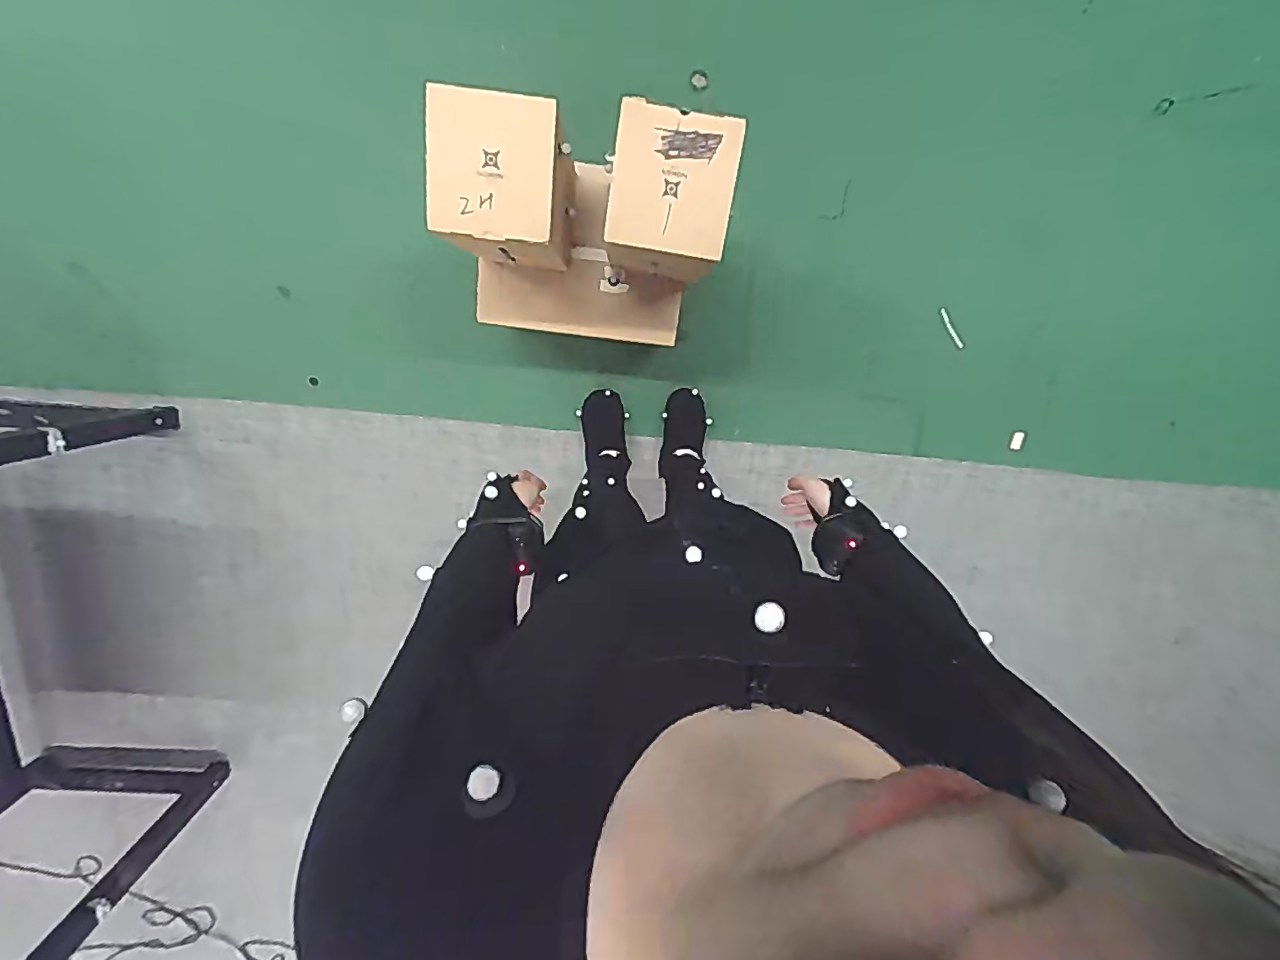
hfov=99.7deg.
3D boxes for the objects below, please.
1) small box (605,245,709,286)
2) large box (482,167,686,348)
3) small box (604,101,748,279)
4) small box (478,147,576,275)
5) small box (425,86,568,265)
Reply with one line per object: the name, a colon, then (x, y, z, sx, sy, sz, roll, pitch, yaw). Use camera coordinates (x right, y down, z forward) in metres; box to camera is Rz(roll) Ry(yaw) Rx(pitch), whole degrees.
small box: (0.044, -0.444, 0.945, 0.179, 0.176, 0.168, 11, 104, -2)
large box: (-0.110, -0.469, 1.187, 0.408, 0.320, 0.320, 6, 105, -4)
small box: (0.045, -0.403, 0.783, 0.168, 0.176, 0.179, 9, 105, -2)
small box: (-0.204, -0.466, 0.935, 0.168, 0.176, 0.179, 6, 105, -4)
small box: (-0.197, -0.421, 0.776, 0.168, 0.176, 0.179, 5, 105, -3)
